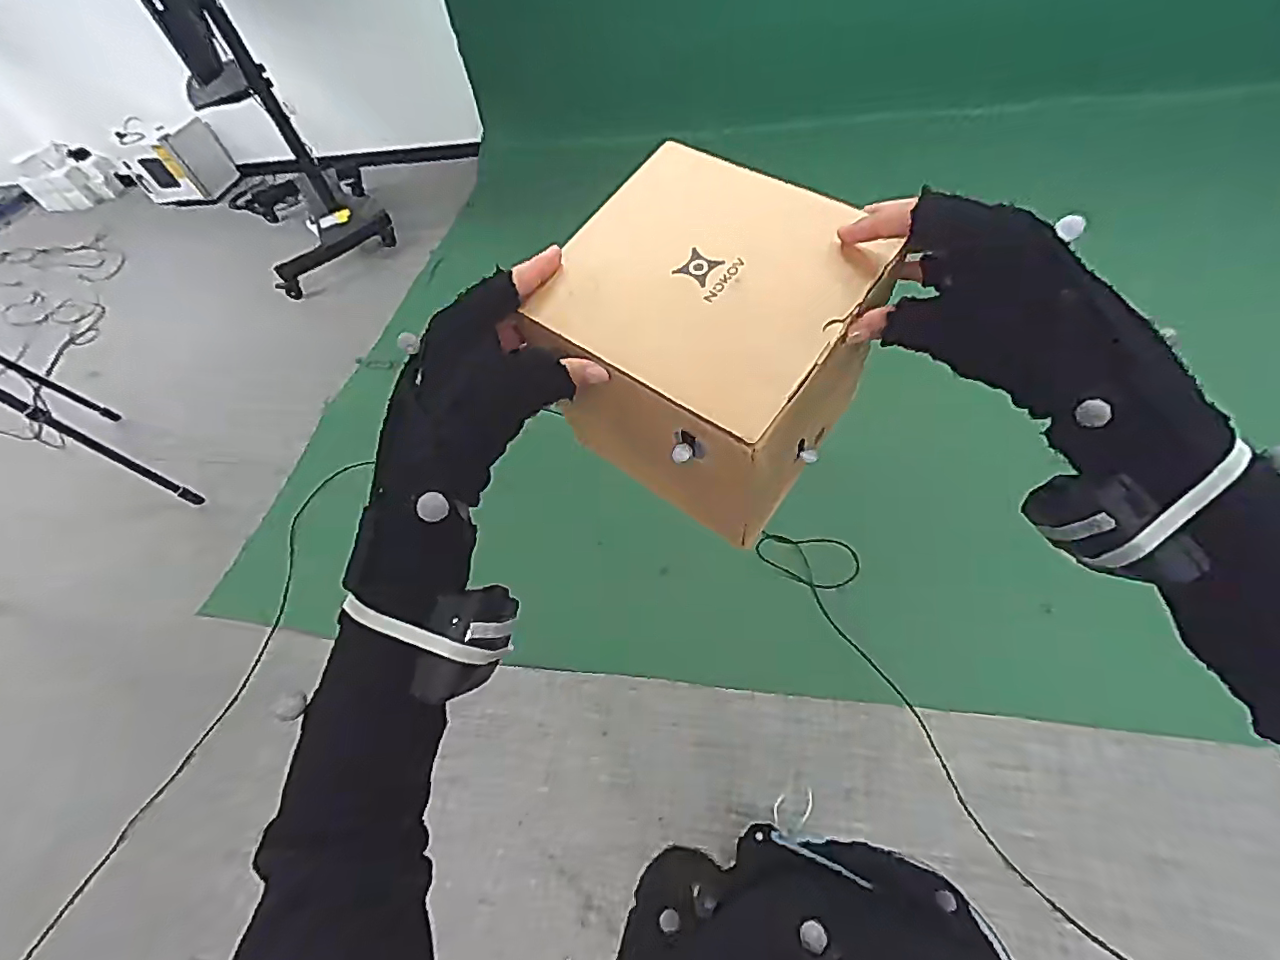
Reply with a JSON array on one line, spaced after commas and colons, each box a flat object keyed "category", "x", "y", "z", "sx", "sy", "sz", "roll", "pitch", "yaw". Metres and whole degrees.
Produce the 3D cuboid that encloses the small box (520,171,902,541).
[{"category": "small box", "x": 0.049, "y": -0.079, "z": 0.398, "sx": 0.179, "sy": 0.176, "sz": 0.168, "roll": 33, "pitch": 74, "yaw": 20}]
